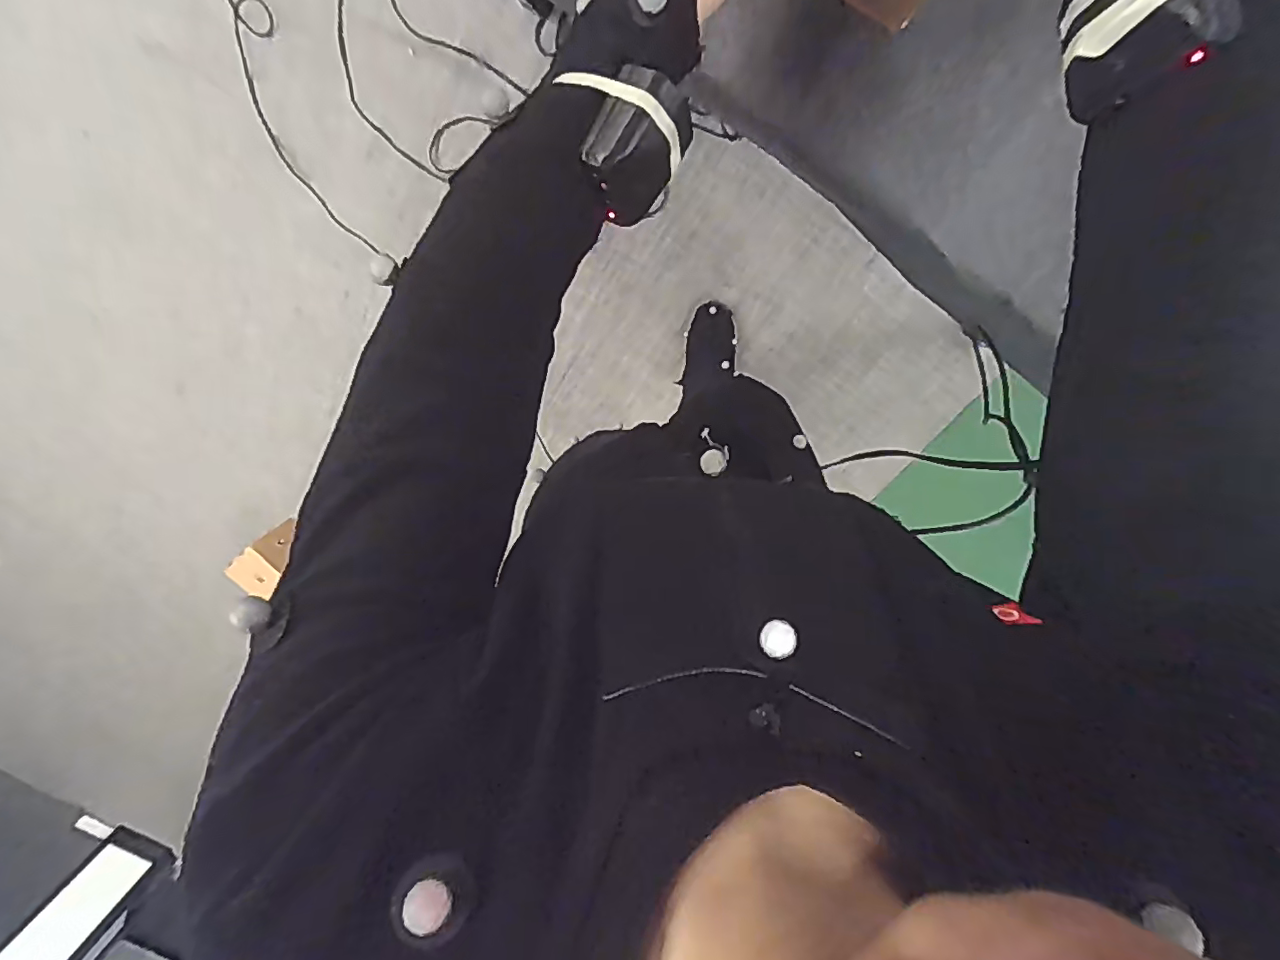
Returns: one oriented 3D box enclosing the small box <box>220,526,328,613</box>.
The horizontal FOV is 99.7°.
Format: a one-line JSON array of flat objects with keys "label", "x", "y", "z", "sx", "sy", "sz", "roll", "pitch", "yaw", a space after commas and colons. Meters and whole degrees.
[{"label": "small box", "x": -1.112, "y": 0.264, "z": 1.654, "sx": 0.168, "sy": 0.176, "sz": 0.179, "roll": -36, "pitch": 106, "yaw": 22}]
